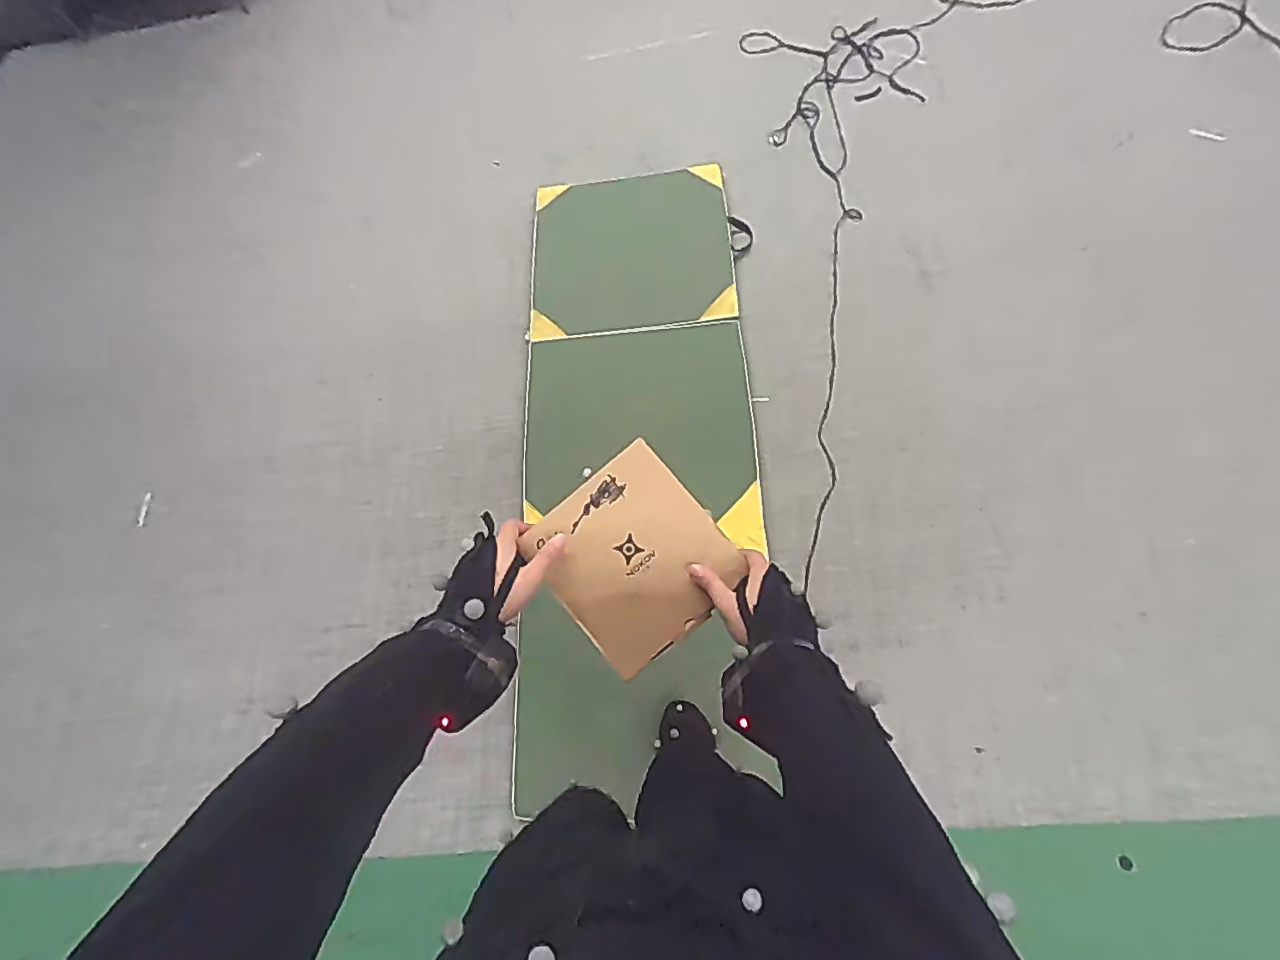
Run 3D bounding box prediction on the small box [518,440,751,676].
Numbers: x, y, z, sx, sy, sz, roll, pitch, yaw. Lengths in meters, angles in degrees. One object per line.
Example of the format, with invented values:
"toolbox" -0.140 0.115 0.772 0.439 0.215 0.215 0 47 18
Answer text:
"small box" -0.005 0.083 0.609 0.168 0.176 0.179 -40 83 -5
